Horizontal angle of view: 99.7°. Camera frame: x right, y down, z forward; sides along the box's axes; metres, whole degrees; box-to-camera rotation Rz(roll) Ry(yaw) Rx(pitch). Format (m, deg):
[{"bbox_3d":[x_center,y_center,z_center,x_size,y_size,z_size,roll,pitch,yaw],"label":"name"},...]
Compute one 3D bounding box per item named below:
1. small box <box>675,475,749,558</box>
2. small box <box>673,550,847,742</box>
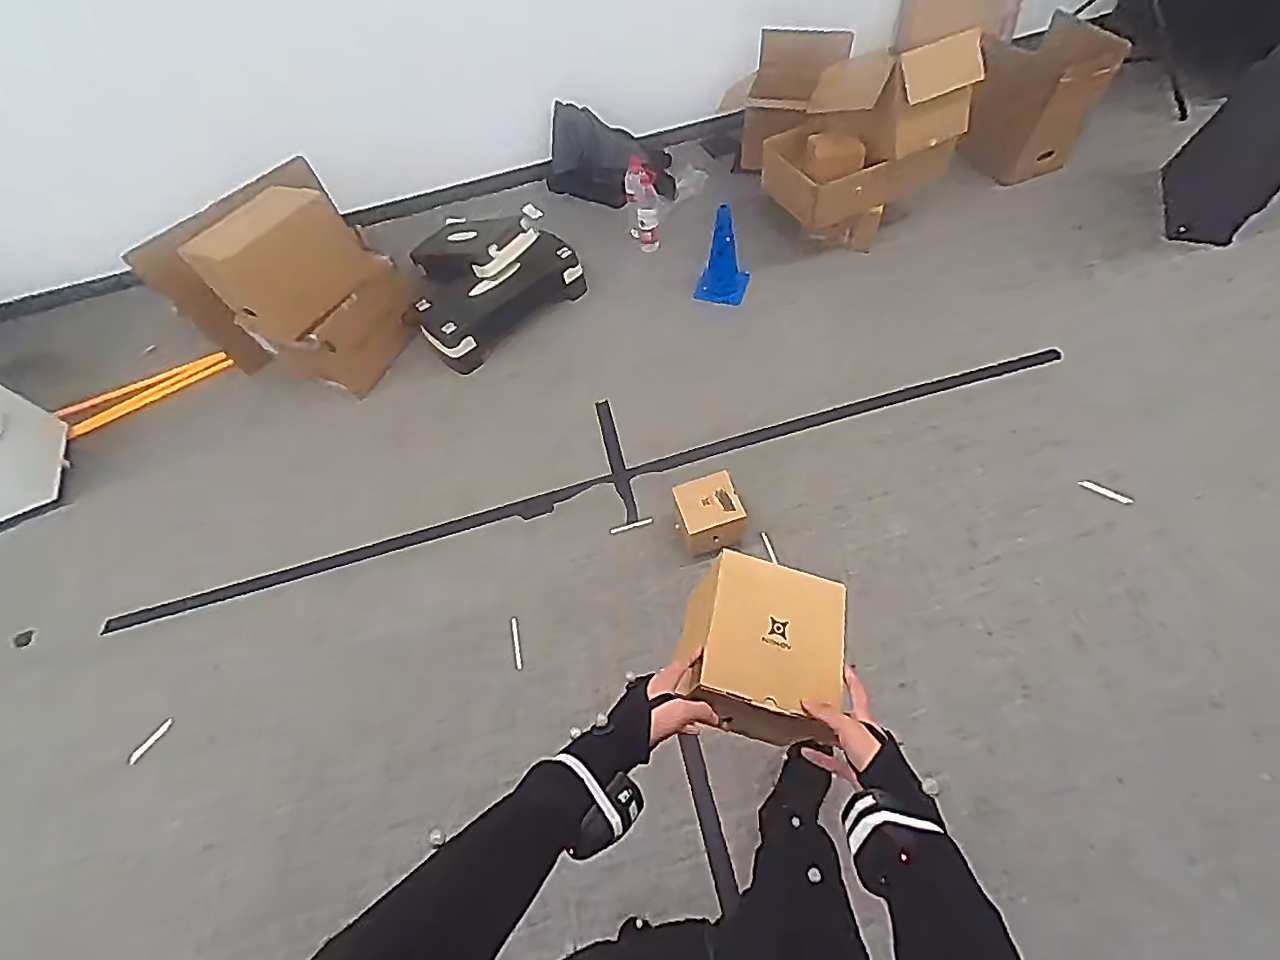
[{"bbox_3d":[0.213,0.114,1.631,0.179,0.176,0.168,-17,59,-2],"label":"small box"},{"bbox_3d":[0.150,0.221,0.705,0.168,0.176,0.179,17,57,-1],"label":"small box"}]
